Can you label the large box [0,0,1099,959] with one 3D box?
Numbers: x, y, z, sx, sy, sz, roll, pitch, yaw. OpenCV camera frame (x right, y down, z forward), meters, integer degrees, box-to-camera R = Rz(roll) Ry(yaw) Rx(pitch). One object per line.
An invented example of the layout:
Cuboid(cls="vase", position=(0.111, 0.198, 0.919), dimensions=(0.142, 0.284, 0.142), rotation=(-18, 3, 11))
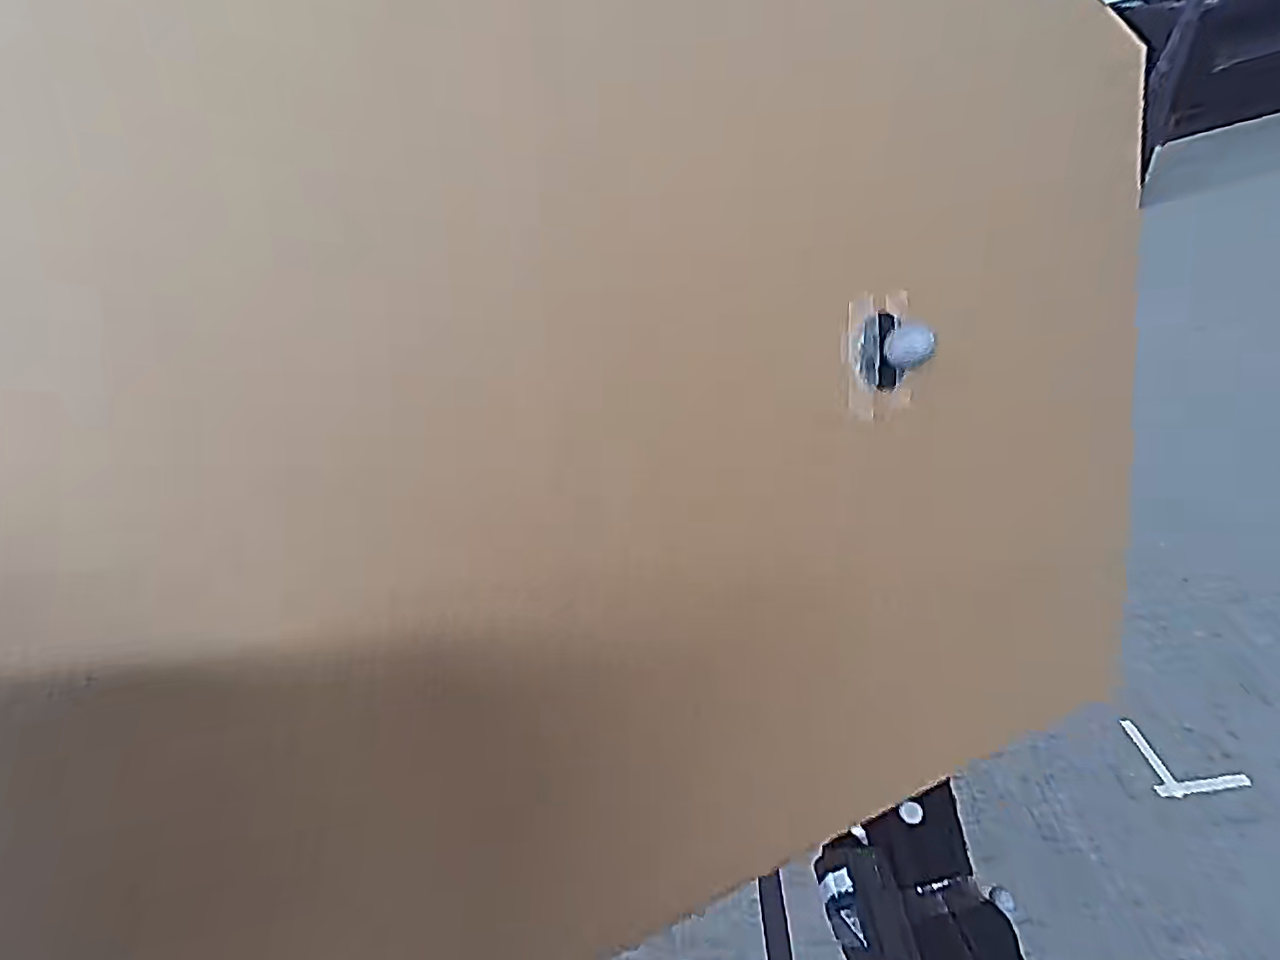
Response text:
Cuboid(cls="large box", position=(-0.004, -0.039, 0.309), dimensions=(0.408, 0.320, 0.320), rotation=(-2, 2, -32))
